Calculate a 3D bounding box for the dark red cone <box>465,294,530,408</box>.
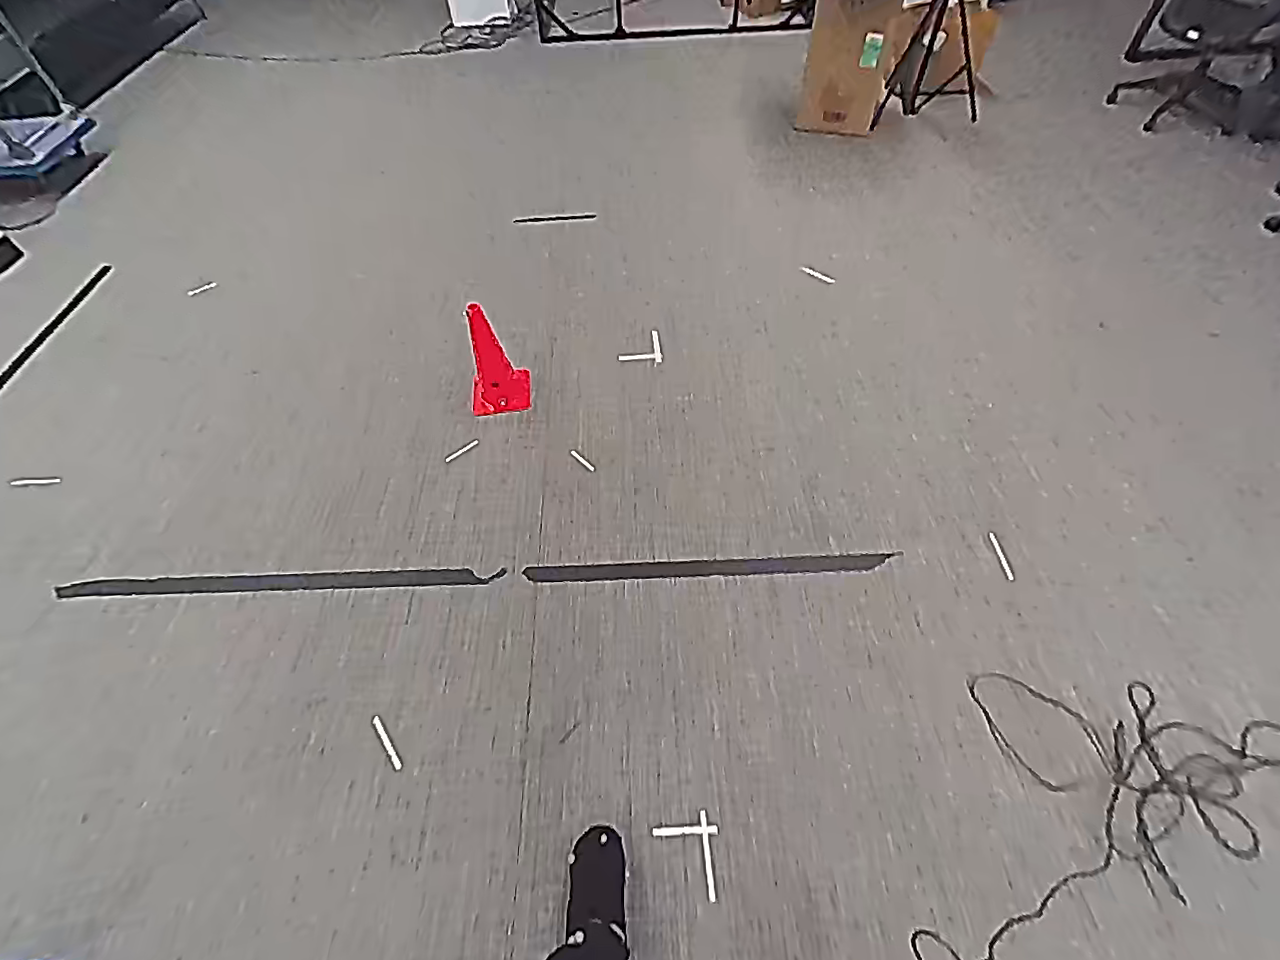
[{"bbox_3d":[-0.488,-0.421,1.729,0.202,0.394,0.201,-9,55,-4],"label":"dark red cone"}]
